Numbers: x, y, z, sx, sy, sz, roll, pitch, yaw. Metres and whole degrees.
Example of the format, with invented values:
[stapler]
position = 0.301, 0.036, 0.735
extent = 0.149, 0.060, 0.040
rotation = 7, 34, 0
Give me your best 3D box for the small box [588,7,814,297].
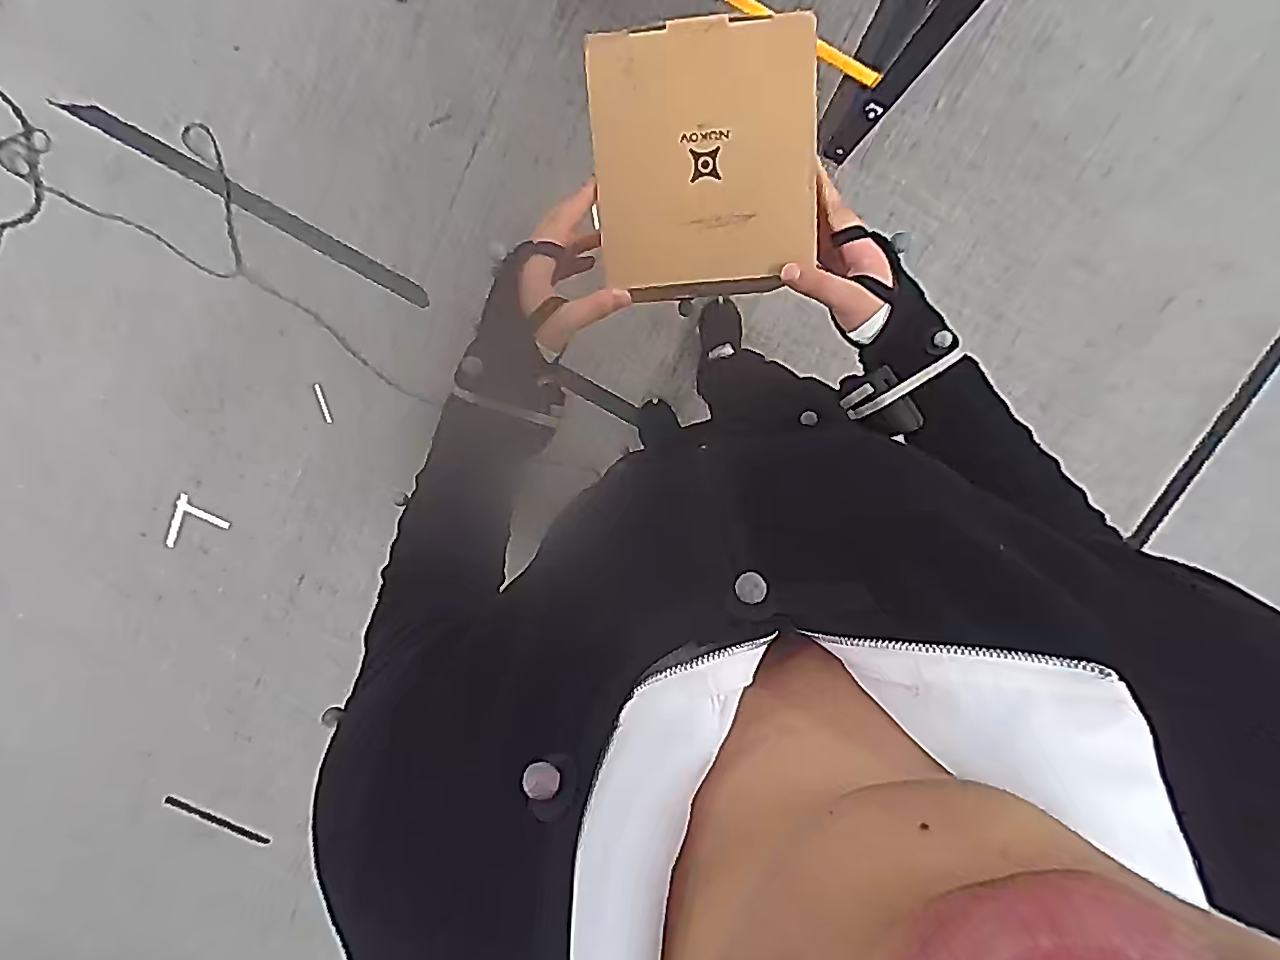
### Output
[small box]
position = 0.048, -0.266, 0.482
extent = 0.168, 0.176, 0.179
rotation = -4, 105, 2
